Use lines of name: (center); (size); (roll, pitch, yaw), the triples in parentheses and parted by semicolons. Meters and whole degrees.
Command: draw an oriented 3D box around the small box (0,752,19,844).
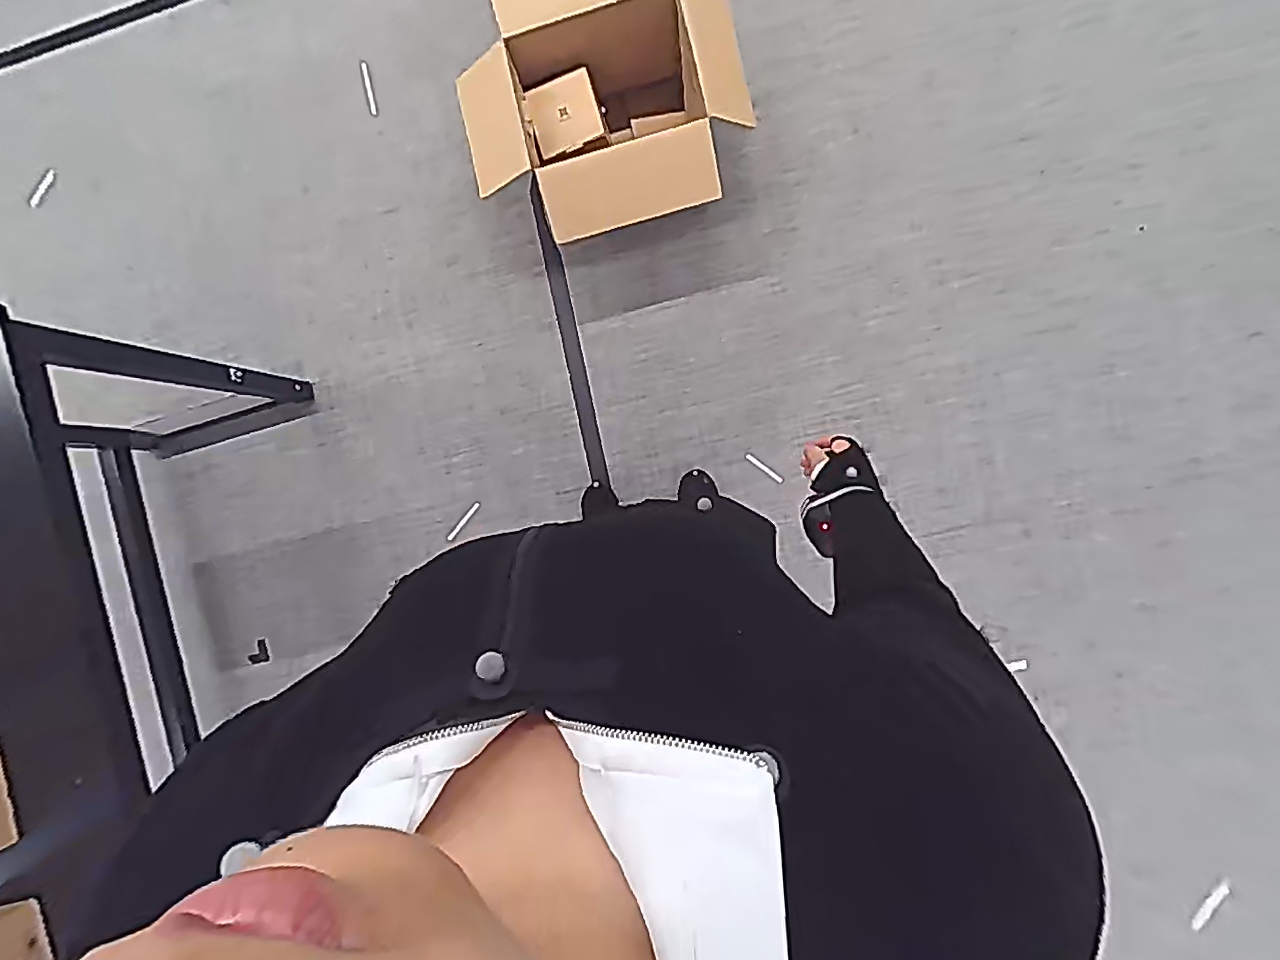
small box: (-1.114, 0.513, 0.809); (0.168, 0.176, 0.179); (-14, 90, 6)

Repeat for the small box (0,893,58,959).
small box: (-1.048, 0.772, 0.811); (0.179, 0.176, 0.168); (-16, 90, 5)
